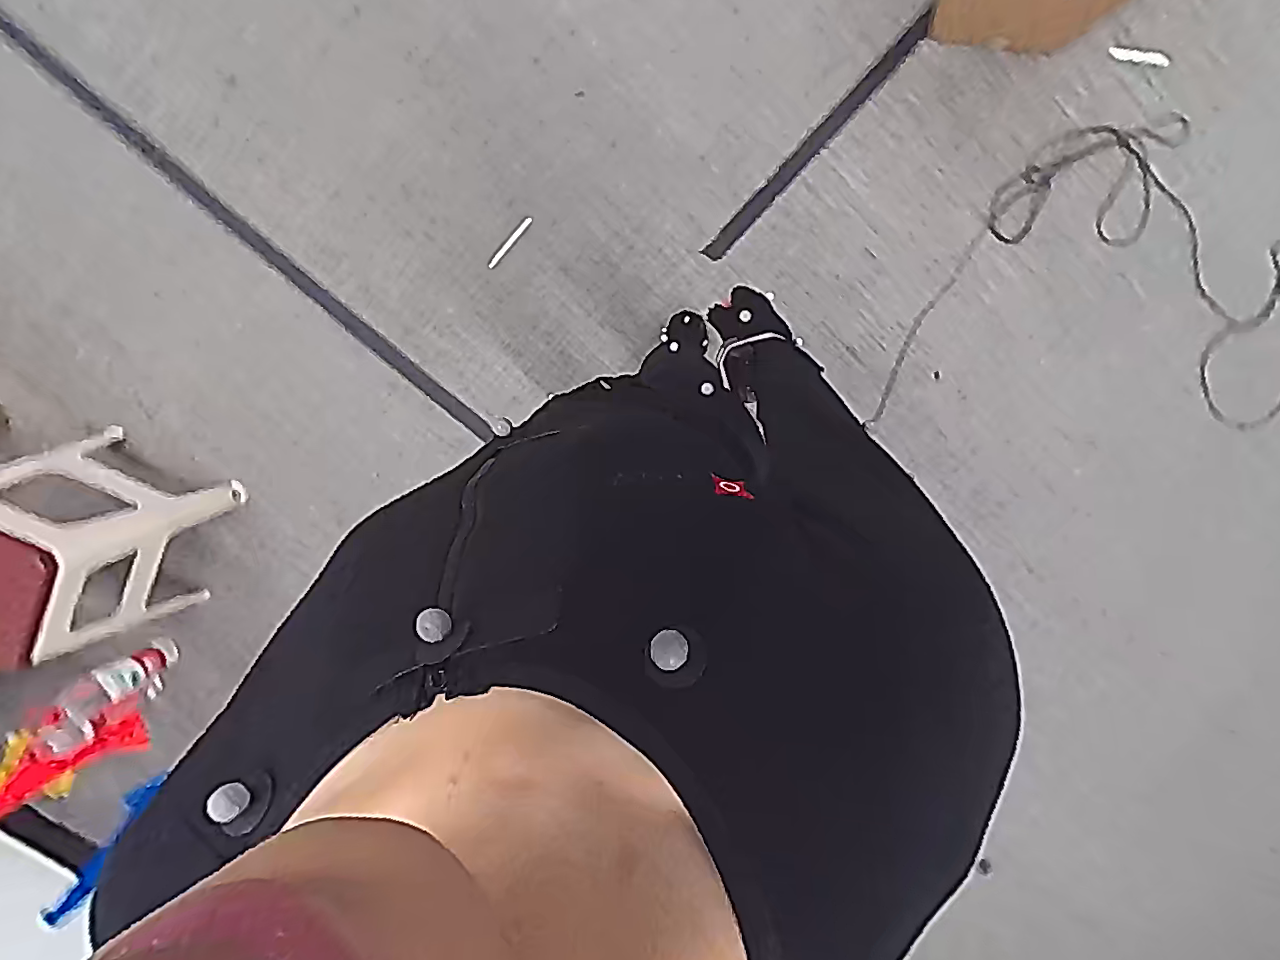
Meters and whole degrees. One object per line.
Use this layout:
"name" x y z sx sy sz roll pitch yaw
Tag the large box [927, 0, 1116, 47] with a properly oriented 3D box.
"large box" 0.833 -1.186 1.078 0.320 0.320 0.408 4 104 -2
